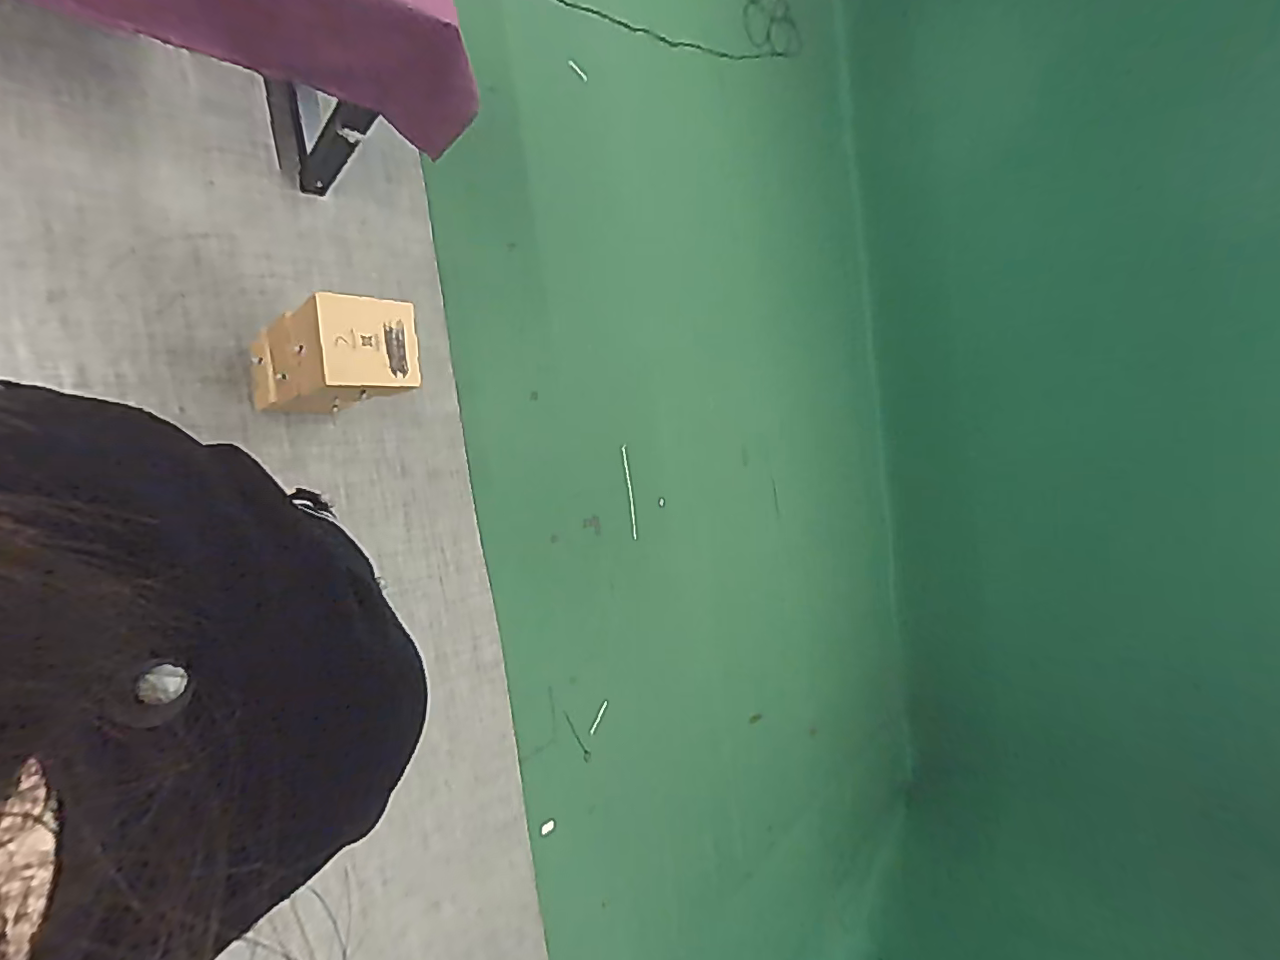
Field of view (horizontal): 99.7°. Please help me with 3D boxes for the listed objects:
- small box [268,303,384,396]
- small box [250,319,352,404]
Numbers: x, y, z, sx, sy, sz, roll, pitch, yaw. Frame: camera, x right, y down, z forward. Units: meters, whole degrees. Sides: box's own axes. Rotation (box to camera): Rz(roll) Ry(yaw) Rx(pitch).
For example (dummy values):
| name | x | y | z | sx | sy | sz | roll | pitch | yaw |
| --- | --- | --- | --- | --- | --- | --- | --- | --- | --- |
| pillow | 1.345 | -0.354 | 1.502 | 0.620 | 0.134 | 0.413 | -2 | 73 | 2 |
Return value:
| name | x | y | z | sx | sy | sz | roll | pitch | yaw |
| --- | --- | --- | --- | --- | --- | --- | --- | --- | --- |
| small box | -0.688 | -0.276 | 1.178 | 0.179 | 0.176 | 0.168 | -11 | 97 | -46 |
| small box | -0.809 | -0.273 | 1.287 | 0.179 | 0.176 | 0.168 | -7 | 94 | -45 |
